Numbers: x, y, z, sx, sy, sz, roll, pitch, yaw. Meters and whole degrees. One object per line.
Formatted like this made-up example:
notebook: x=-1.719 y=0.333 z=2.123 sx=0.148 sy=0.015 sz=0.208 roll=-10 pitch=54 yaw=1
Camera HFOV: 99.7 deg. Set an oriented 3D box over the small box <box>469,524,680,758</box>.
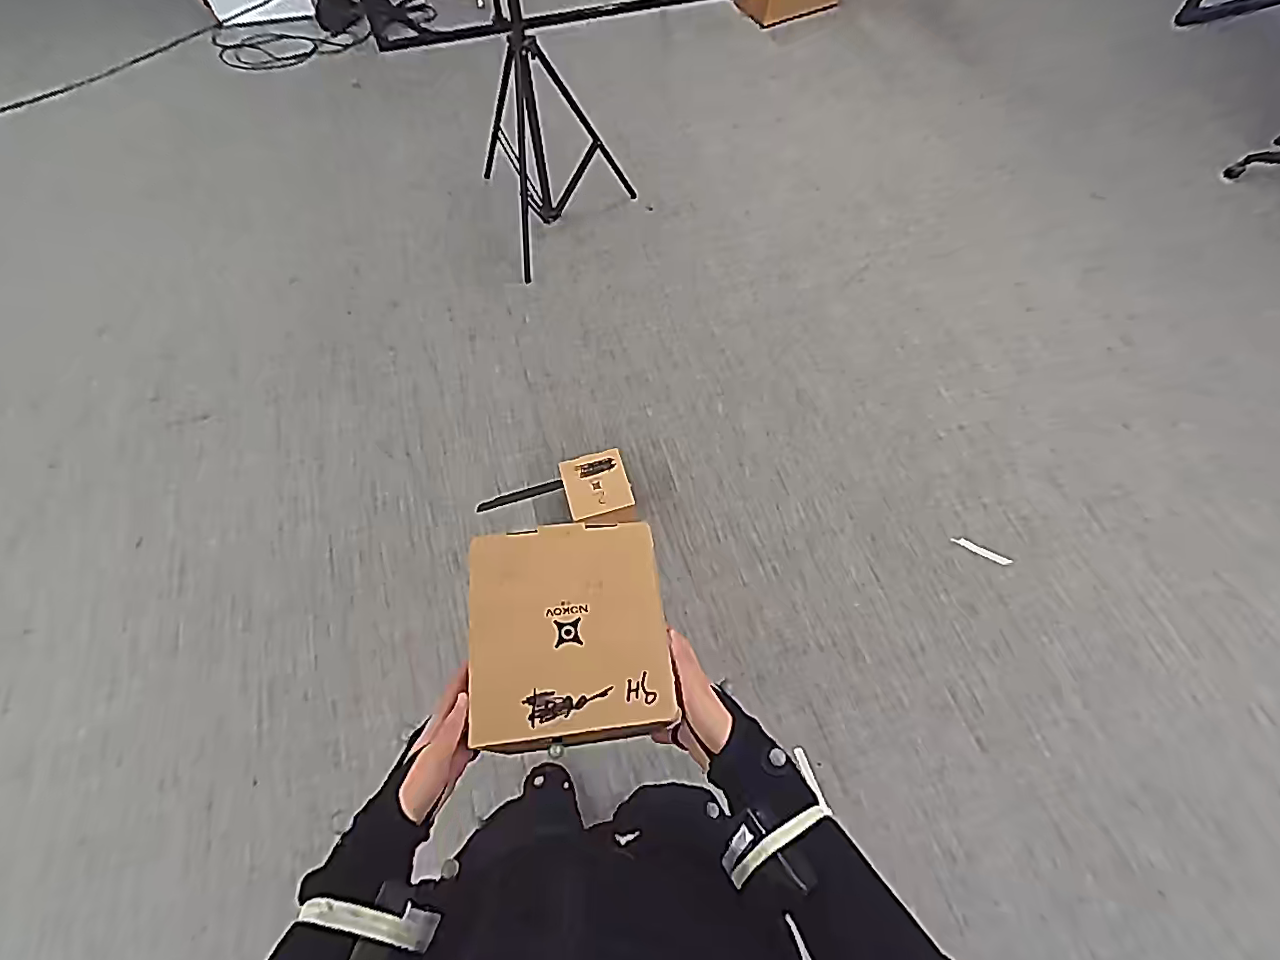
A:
small box: x=-0.066 y=0.161 z=0.527 sx=0.168 sy=0.176 sz=0.179 roll=-5 pitch=62 yaw=-8
